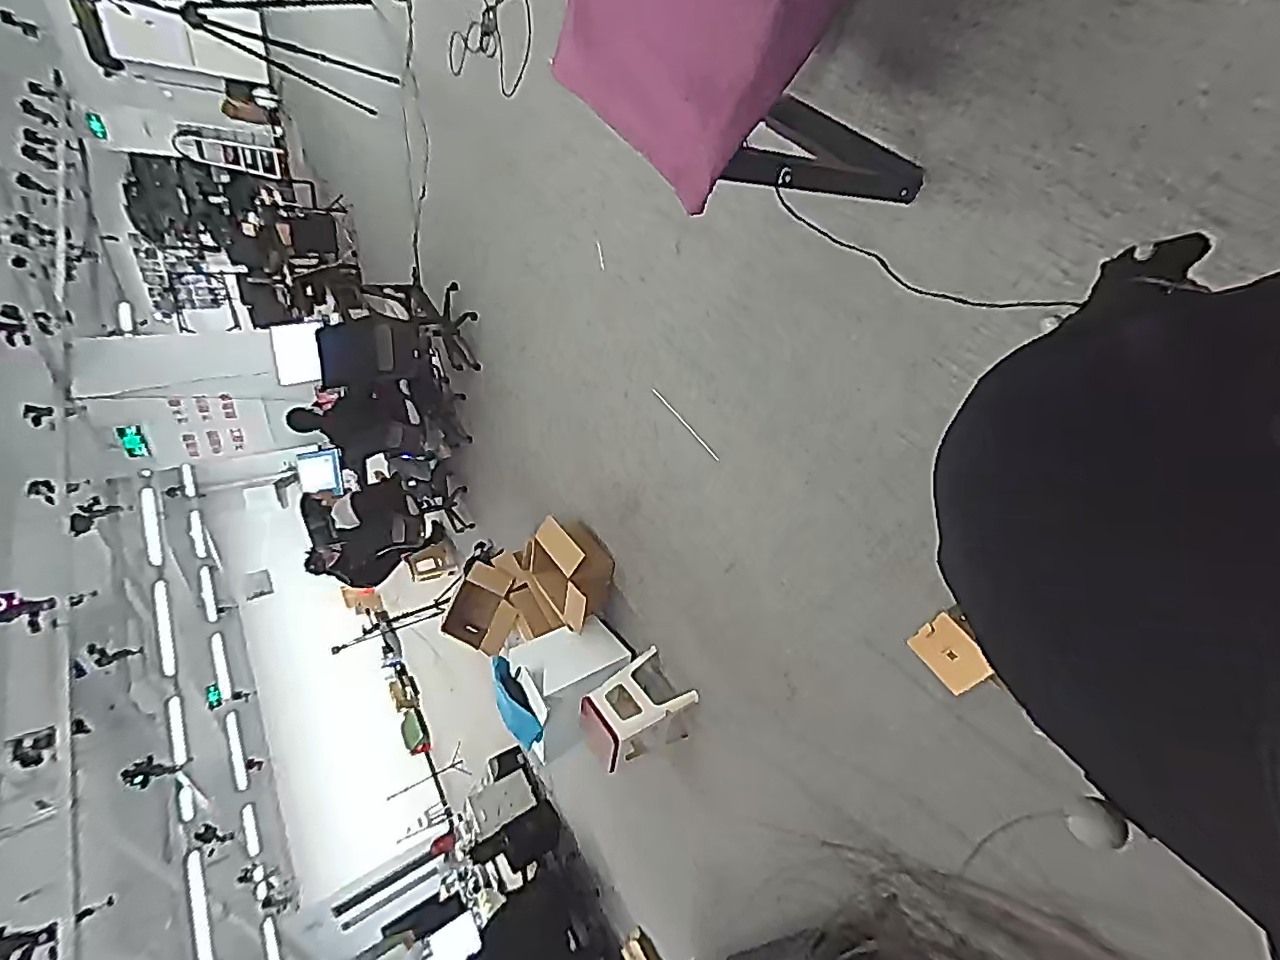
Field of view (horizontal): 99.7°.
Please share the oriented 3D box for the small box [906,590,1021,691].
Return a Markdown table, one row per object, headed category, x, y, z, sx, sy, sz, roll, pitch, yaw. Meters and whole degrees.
| category | x | y | z | sx | sy | sz | roll | pitch | yaw |
| --- | --- | --- | --- | --- | --- | --- | --- | --- | --- |
| small box | 0.873 | 0.427 | 1.457 | 0.179 | 0.176 | 0.168 | 52 | 140 | 29 |
